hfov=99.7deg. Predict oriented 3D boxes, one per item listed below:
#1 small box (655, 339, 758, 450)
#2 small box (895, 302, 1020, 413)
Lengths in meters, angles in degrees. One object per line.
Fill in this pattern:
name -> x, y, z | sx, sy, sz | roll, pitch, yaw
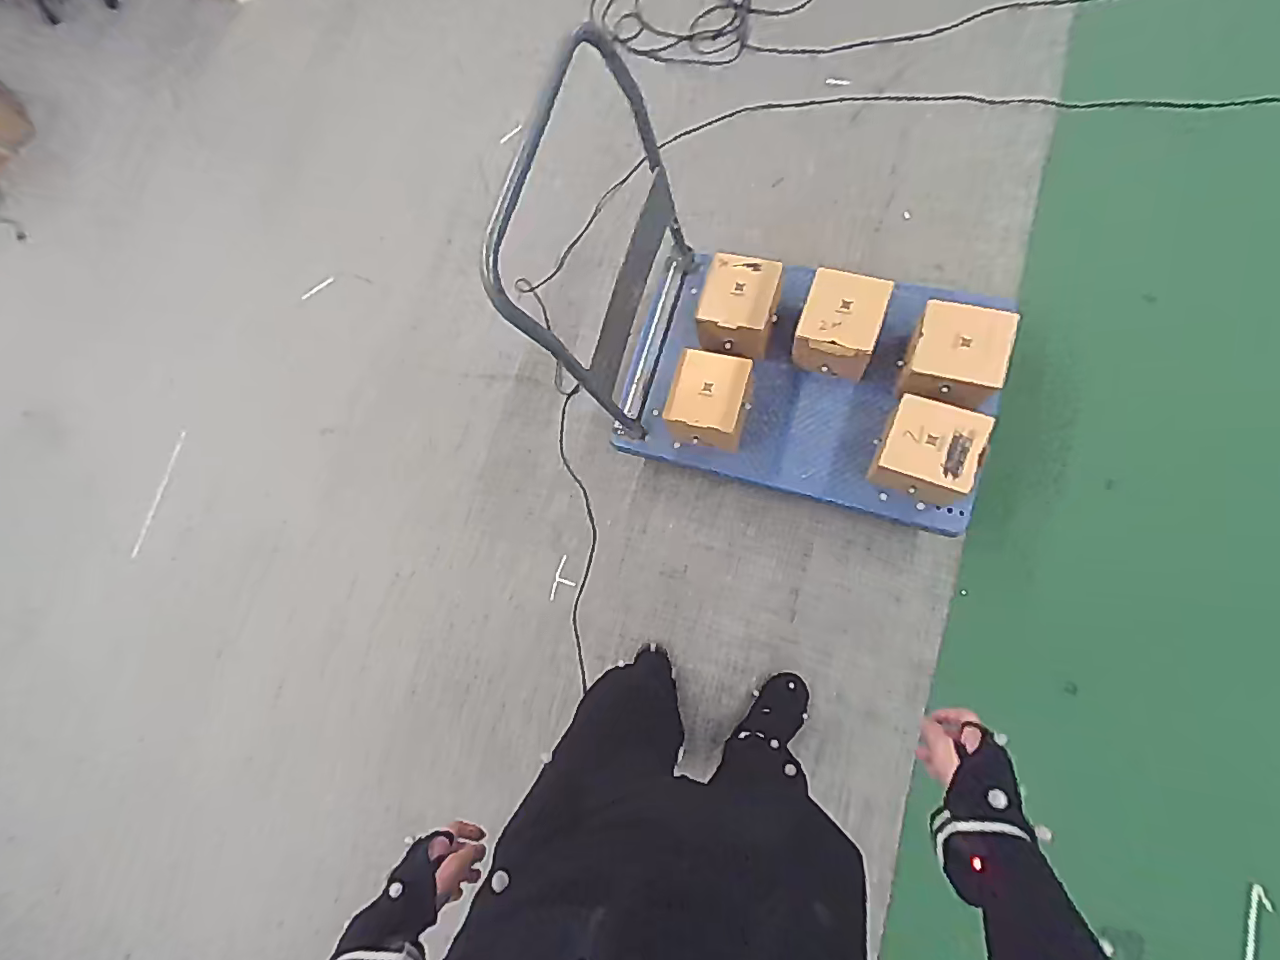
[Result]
small box -> 0.165, -0.195, 1.295 | 0.168, 0.176, 0.179 | -43, 72, 3
small box -> 0.683, -0.261, 1.186 | 0.179, 0.176, 0.168 | 17, 83, 16
